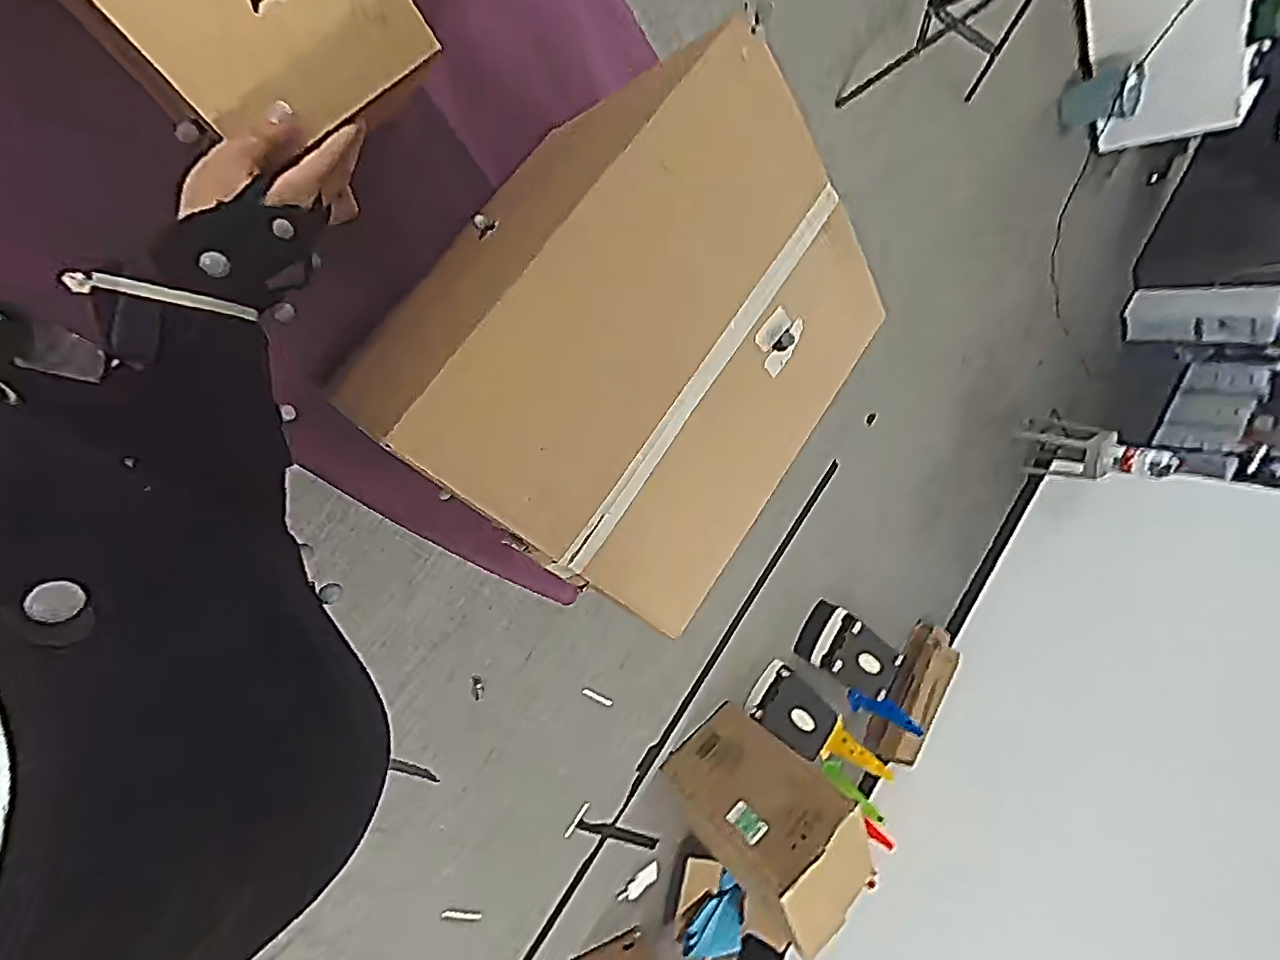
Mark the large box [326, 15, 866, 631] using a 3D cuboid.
[{"bbox_3d":[-0.044,-0.130,0.563,0.320,0.320,0.408,44,75,-37],"label":"large box"}]
